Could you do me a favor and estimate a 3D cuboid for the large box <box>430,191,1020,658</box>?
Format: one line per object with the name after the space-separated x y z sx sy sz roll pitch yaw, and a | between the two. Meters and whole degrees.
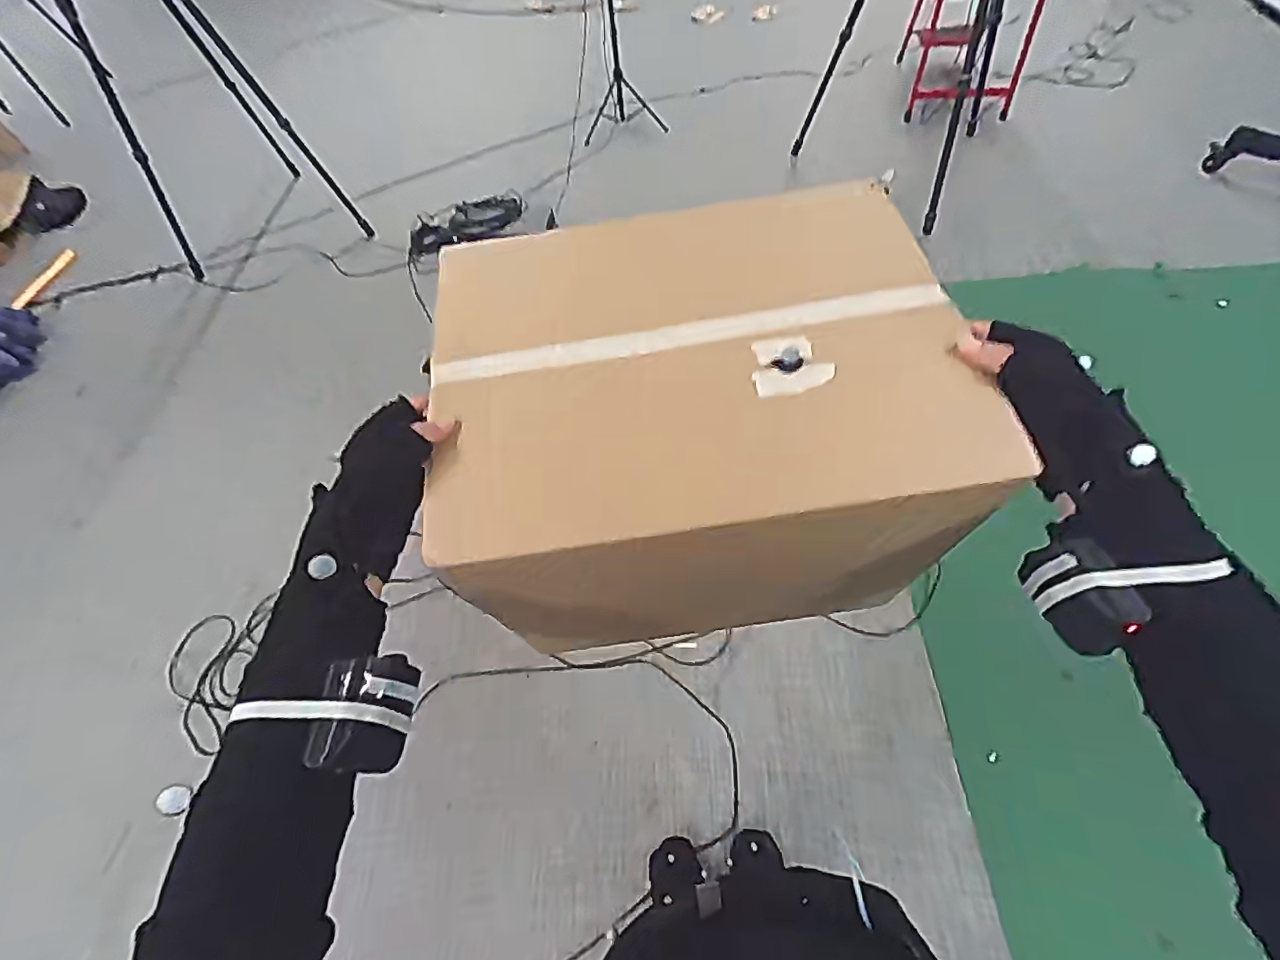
0.045 -0.032 0.554 0.408 0.320 0.320 -9 62 0 | large box
